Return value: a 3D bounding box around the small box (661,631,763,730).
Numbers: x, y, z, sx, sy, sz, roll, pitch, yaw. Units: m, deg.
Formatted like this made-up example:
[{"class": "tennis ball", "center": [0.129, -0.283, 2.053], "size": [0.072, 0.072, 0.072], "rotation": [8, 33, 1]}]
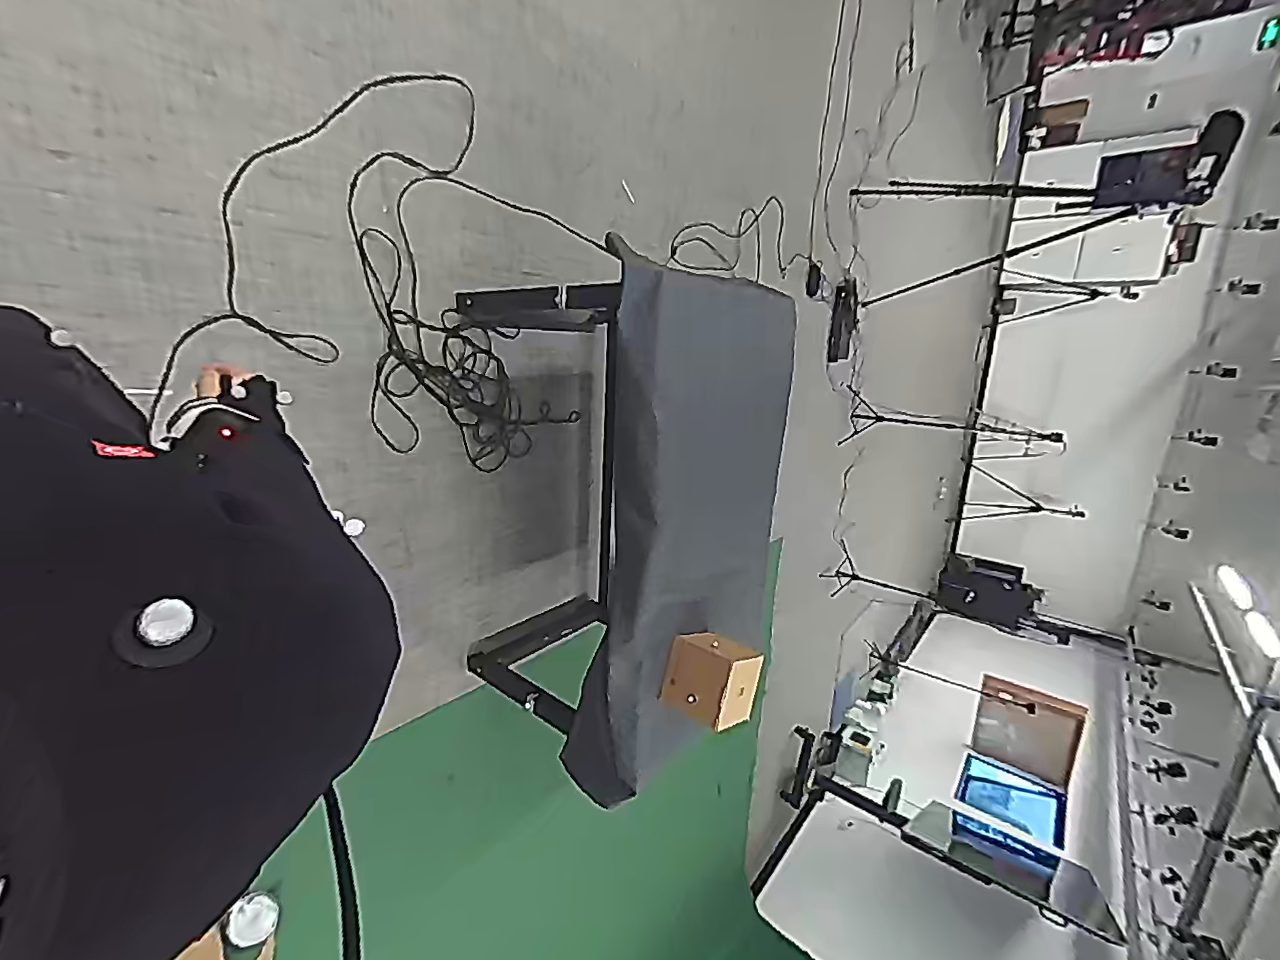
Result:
[{"class": "small box", "center": [0.175, 0.482, 1.327], "size": [0.179, 0.176, 0.168], "rotation": [16, 89, -54]}]
